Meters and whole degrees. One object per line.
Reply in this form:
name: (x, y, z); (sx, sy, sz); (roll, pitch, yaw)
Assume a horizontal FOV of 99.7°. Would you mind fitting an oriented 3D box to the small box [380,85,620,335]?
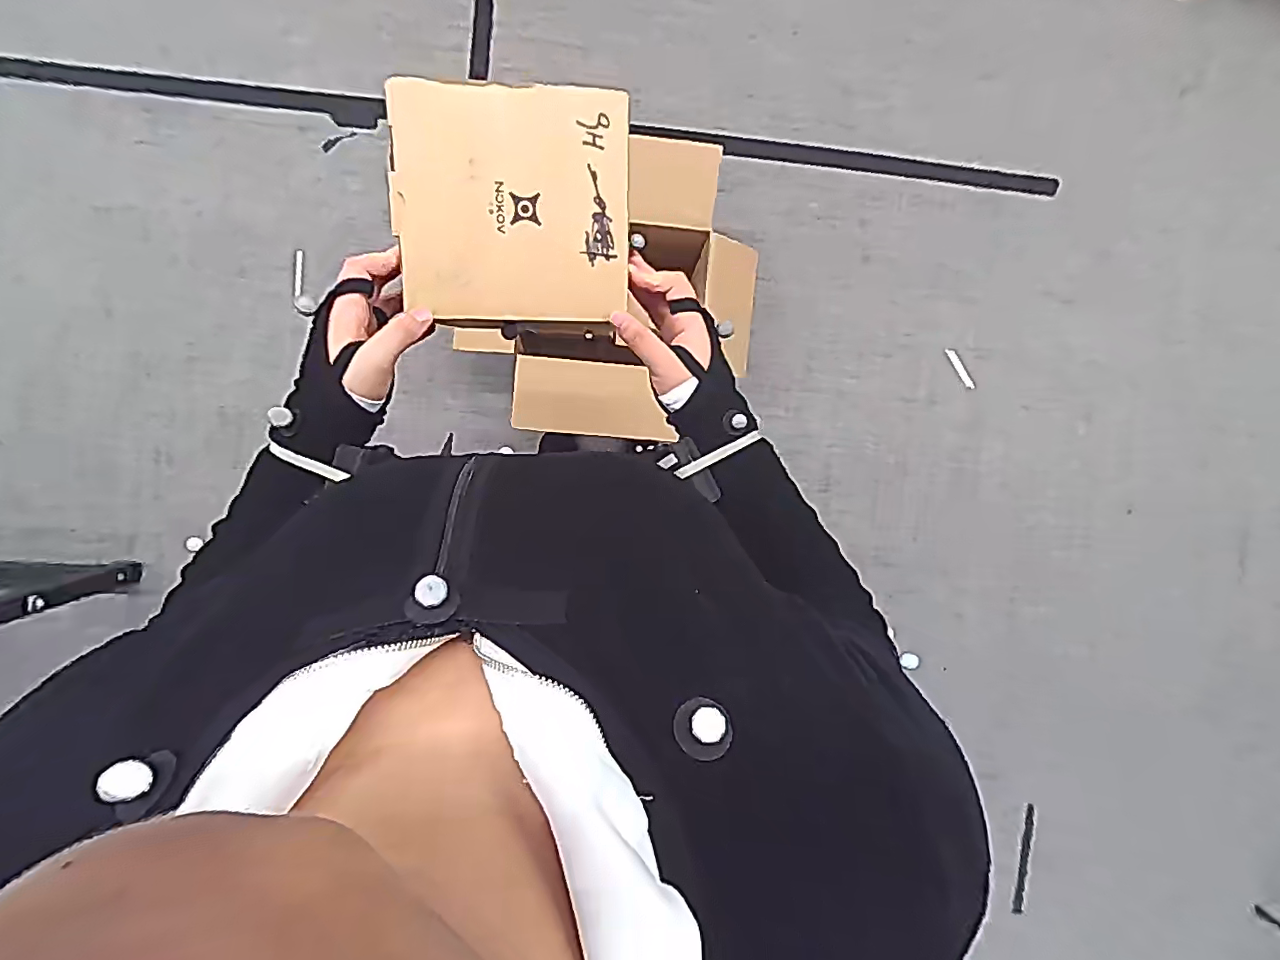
small box: (-0.109, -0.220, 0.488); (0.179, 0.176, 0.168); (-1, 102, -5)
